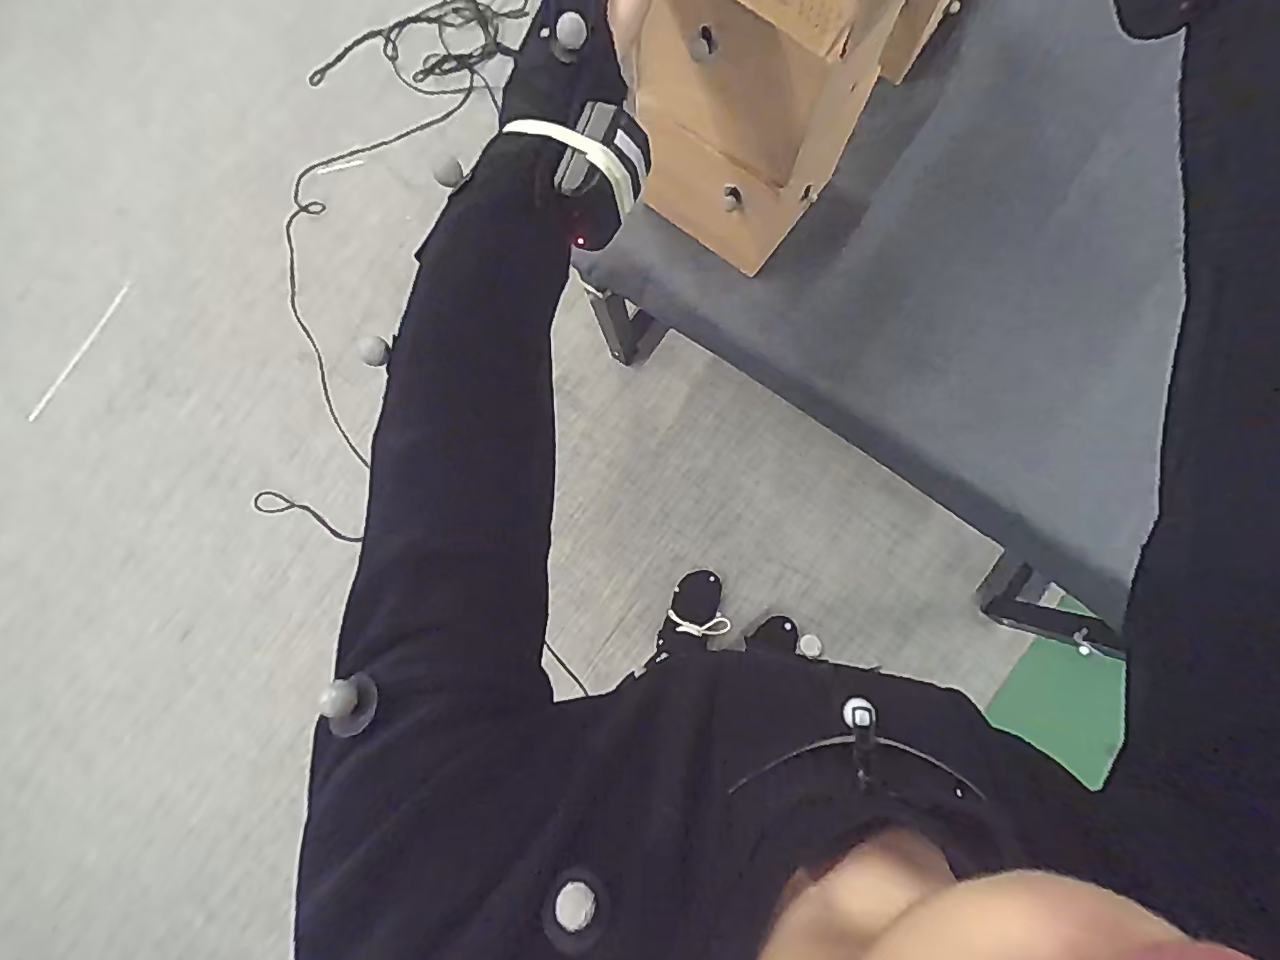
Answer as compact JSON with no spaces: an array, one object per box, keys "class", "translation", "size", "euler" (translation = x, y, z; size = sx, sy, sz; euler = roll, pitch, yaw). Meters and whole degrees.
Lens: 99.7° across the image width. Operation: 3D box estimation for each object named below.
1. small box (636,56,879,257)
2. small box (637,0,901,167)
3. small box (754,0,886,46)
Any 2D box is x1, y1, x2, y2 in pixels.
[{"class":"small box","translation":[0.116,-0.379,0.596],"size":[0.179,0.176,0.168],"euler":[38,87,5]},{"class":"small box","translation":[0.107,-0.400,0.434],"size":[0.179,0.176,0.168],"euler":[34,87,5]},{"class":"small box","translation":[0.106,-0.380,0.258],"size":[0.168,0.176,0.179],"euler":[39,93,7]}]
